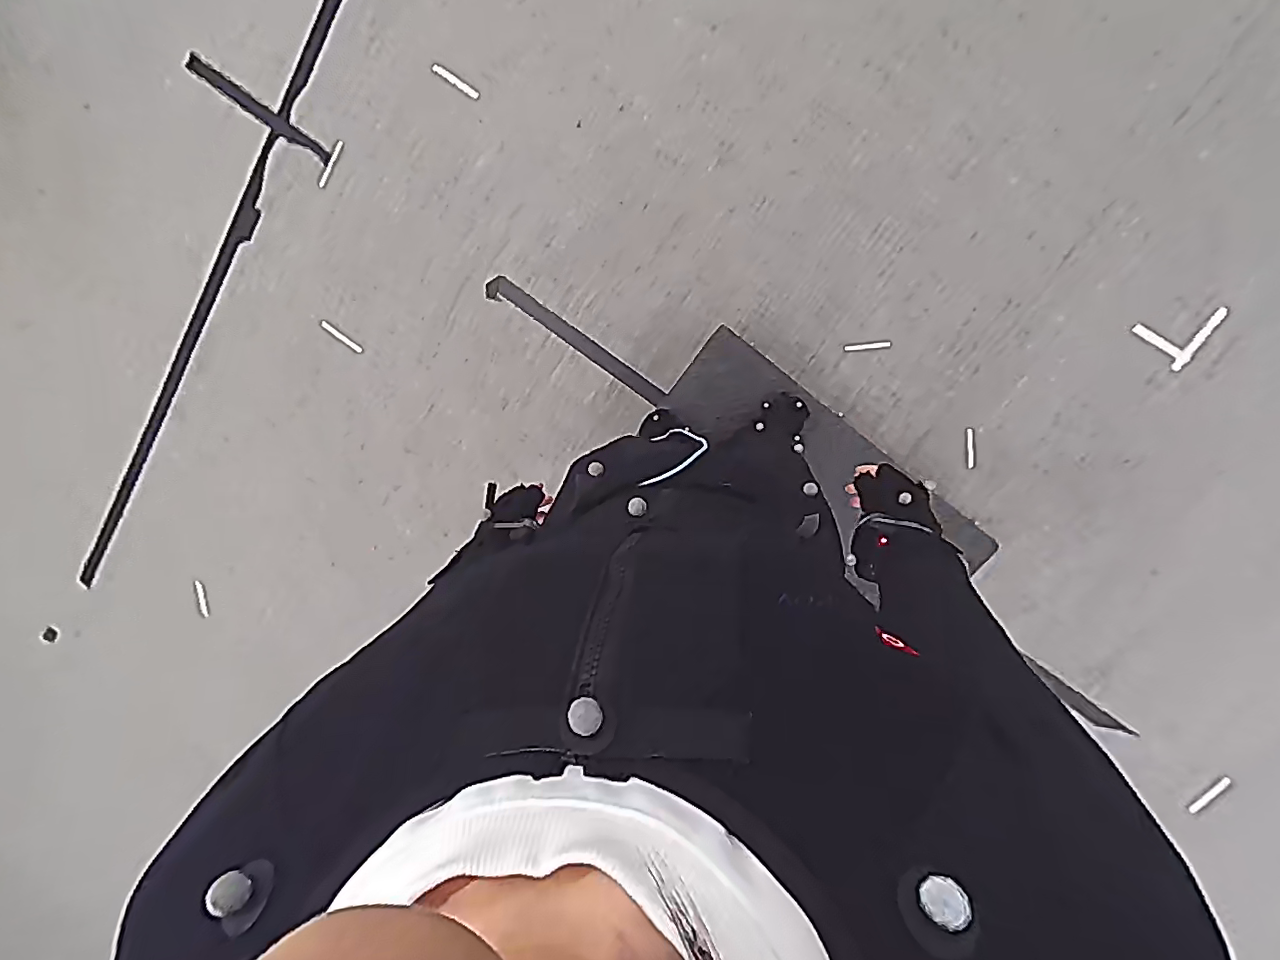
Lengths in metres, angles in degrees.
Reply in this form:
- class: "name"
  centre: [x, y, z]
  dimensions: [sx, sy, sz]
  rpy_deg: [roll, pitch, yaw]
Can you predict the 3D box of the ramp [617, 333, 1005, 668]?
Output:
- class: "ramp"
  centre: [0.477, 0.090, 1.476]
  dimensions: [0.991, 0.206, 0.509]
  rpy_deg: [35, 101, 2]
